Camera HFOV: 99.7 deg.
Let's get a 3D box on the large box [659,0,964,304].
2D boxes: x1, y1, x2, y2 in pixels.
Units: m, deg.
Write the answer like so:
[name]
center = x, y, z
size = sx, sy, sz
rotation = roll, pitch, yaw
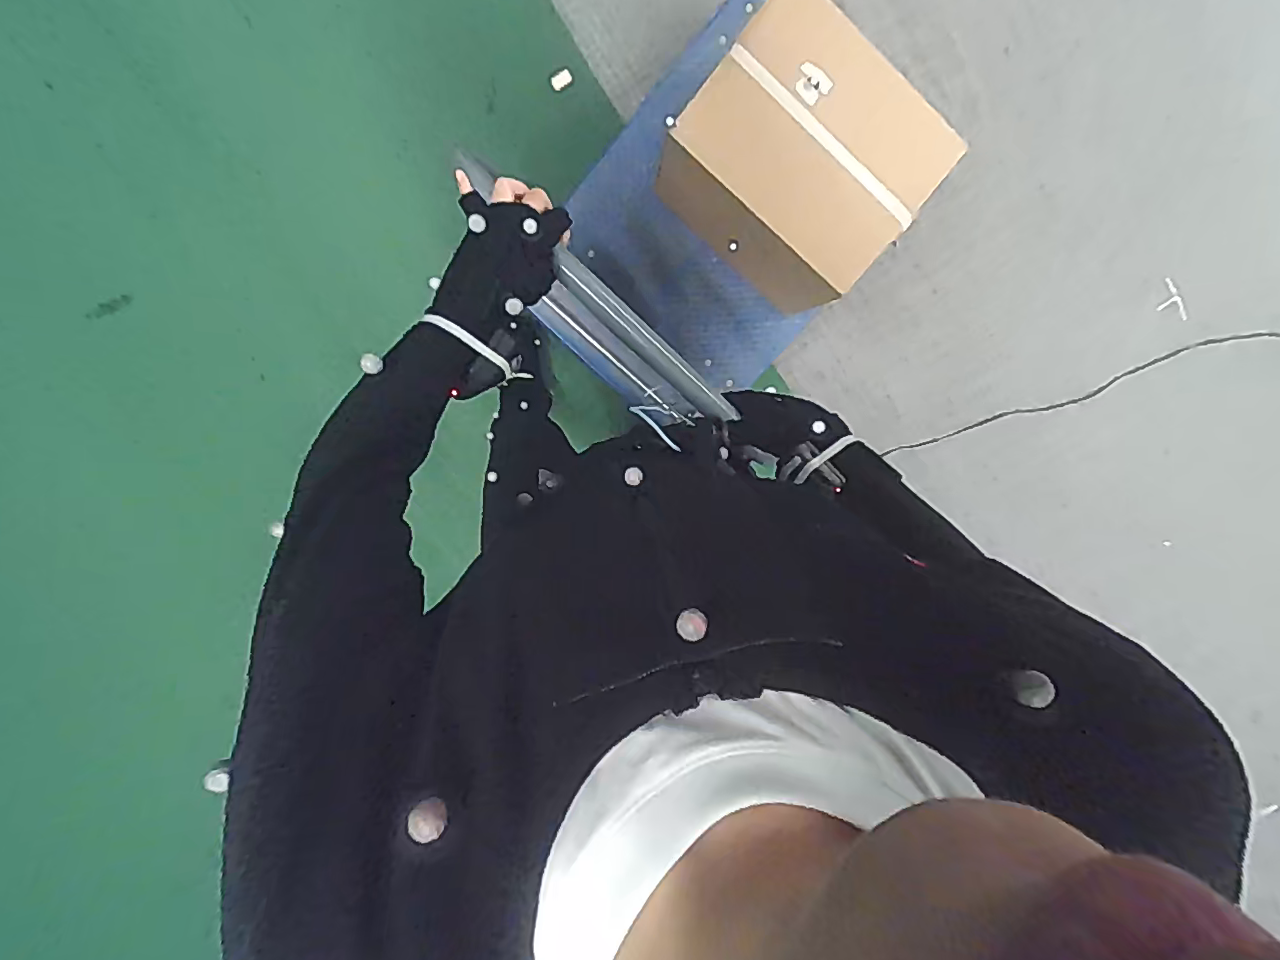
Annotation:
[large box]
center = 0.289, -0.600, 1.034
size = 0.408, 0.320, 0.320
rotation = 38, 97, -8
